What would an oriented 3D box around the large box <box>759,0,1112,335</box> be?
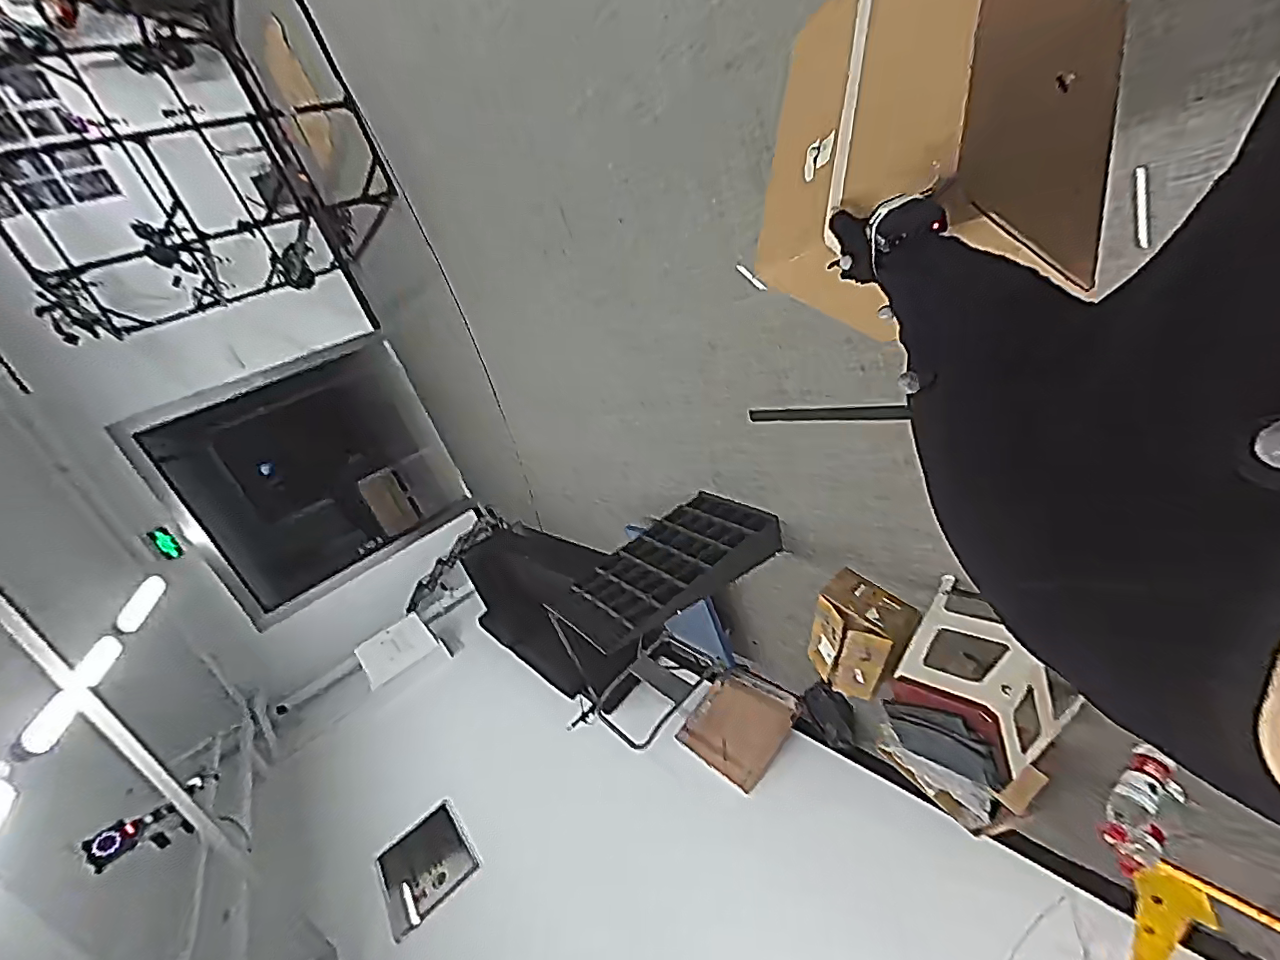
[{"bbox_3d":[0.419,-0.478,0.786,0.320,0.320,0.408,2,80,62],"label":"large box"}]
